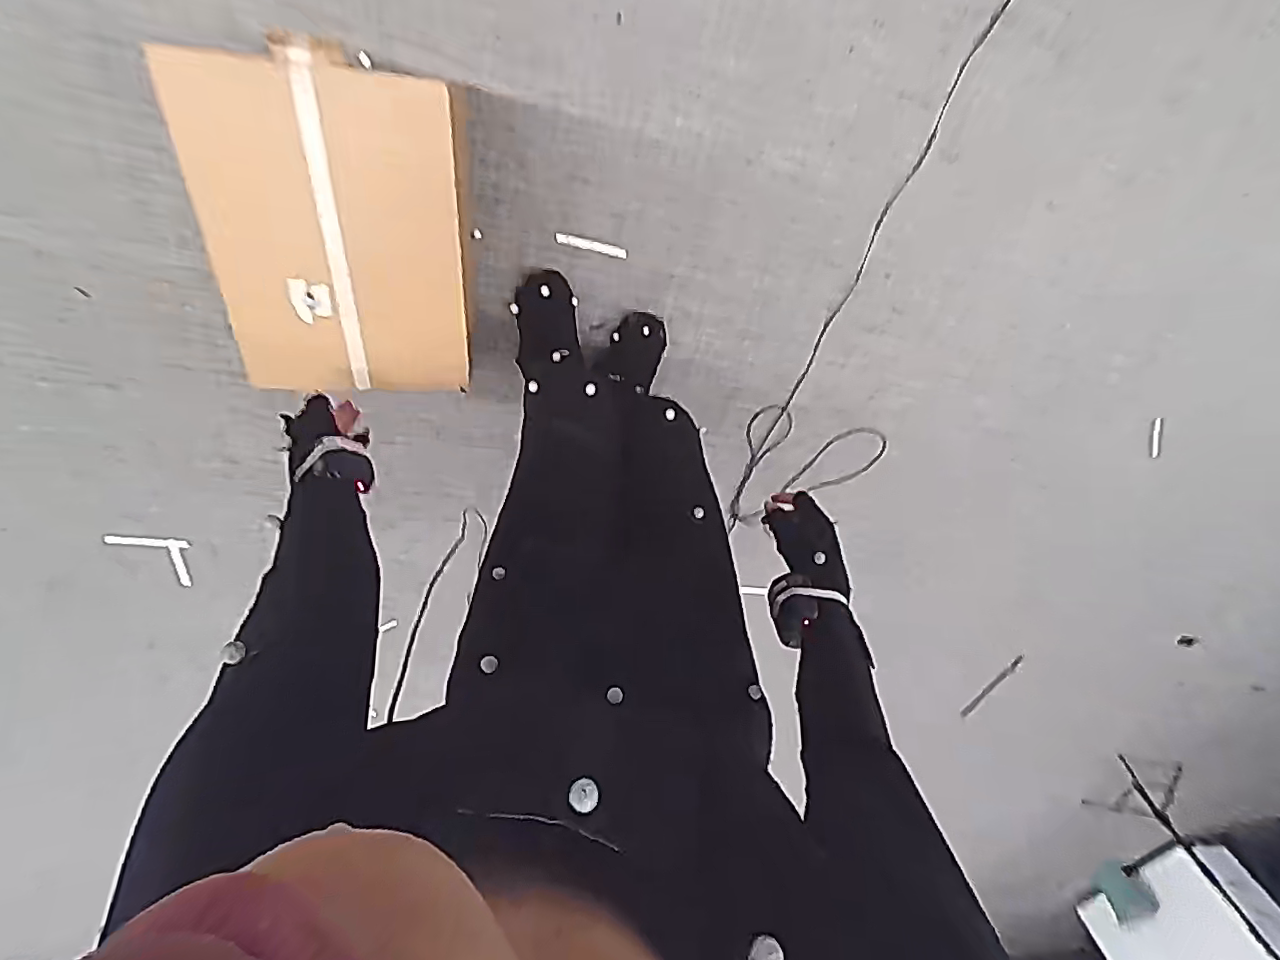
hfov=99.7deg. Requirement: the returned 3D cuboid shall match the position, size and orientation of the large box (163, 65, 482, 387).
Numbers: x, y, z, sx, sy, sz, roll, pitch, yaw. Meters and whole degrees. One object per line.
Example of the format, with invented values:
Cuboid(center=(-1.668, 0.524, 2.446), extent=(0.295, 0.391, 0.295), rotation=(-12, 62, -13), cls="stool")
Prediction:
Cuboid(center=(-0.433, -0.399, 0.866), extent=(0.320, 0.320, 0.408), rotation=(0, 126, -11), cls="large box")
